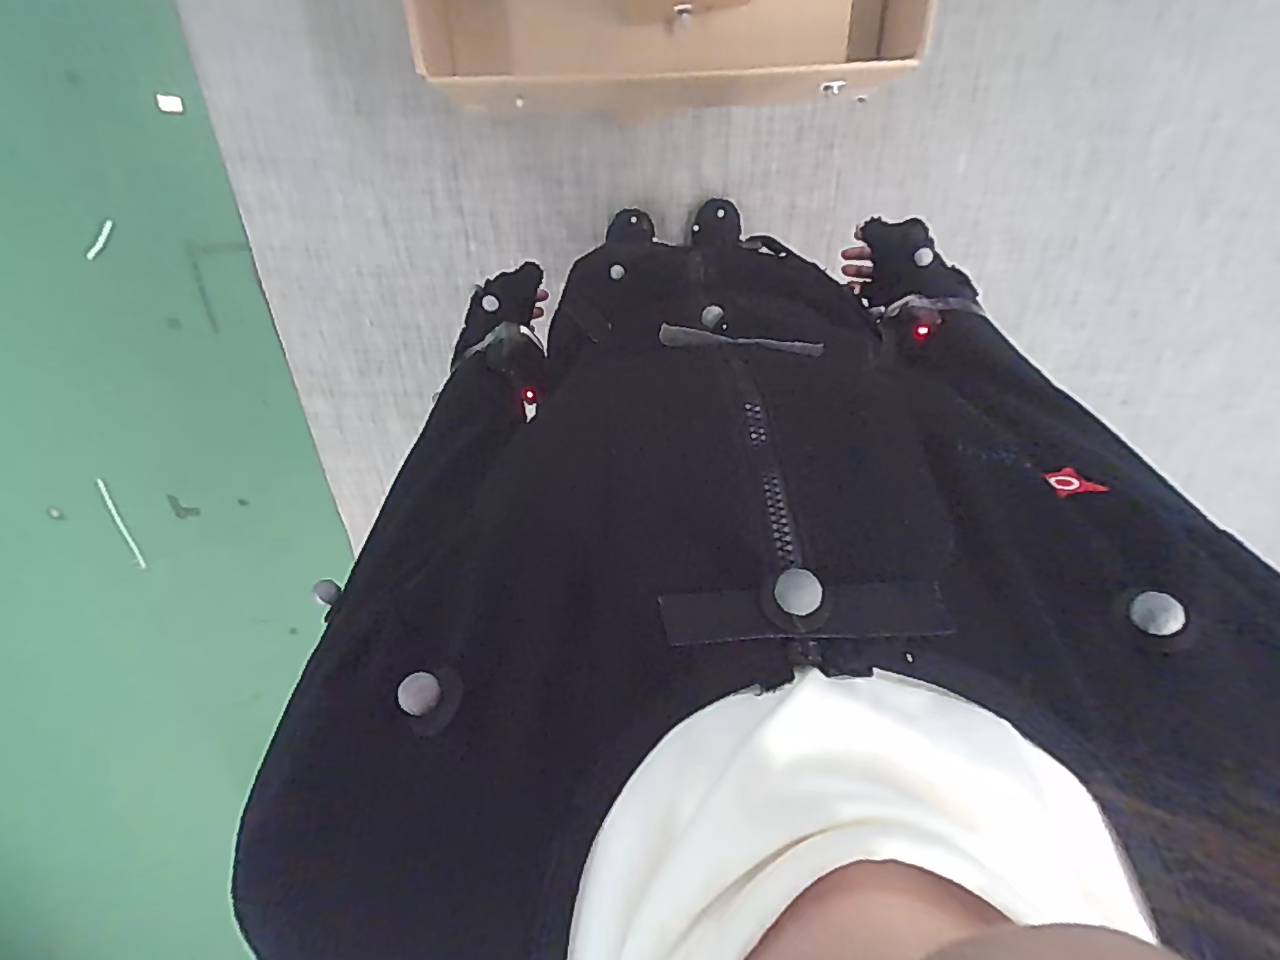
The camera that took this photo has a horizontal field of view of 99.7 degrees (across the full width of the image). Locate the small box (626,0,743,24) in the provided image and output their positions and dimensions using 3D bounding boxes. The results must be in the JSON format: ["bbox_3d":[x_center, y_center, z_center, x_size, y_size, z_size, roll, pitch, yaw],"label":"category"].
[{"bbox_3d":[0.051,-0.675,0.628,0.168,0.176,0.179,-6,118,6],"label":"small box"}]
